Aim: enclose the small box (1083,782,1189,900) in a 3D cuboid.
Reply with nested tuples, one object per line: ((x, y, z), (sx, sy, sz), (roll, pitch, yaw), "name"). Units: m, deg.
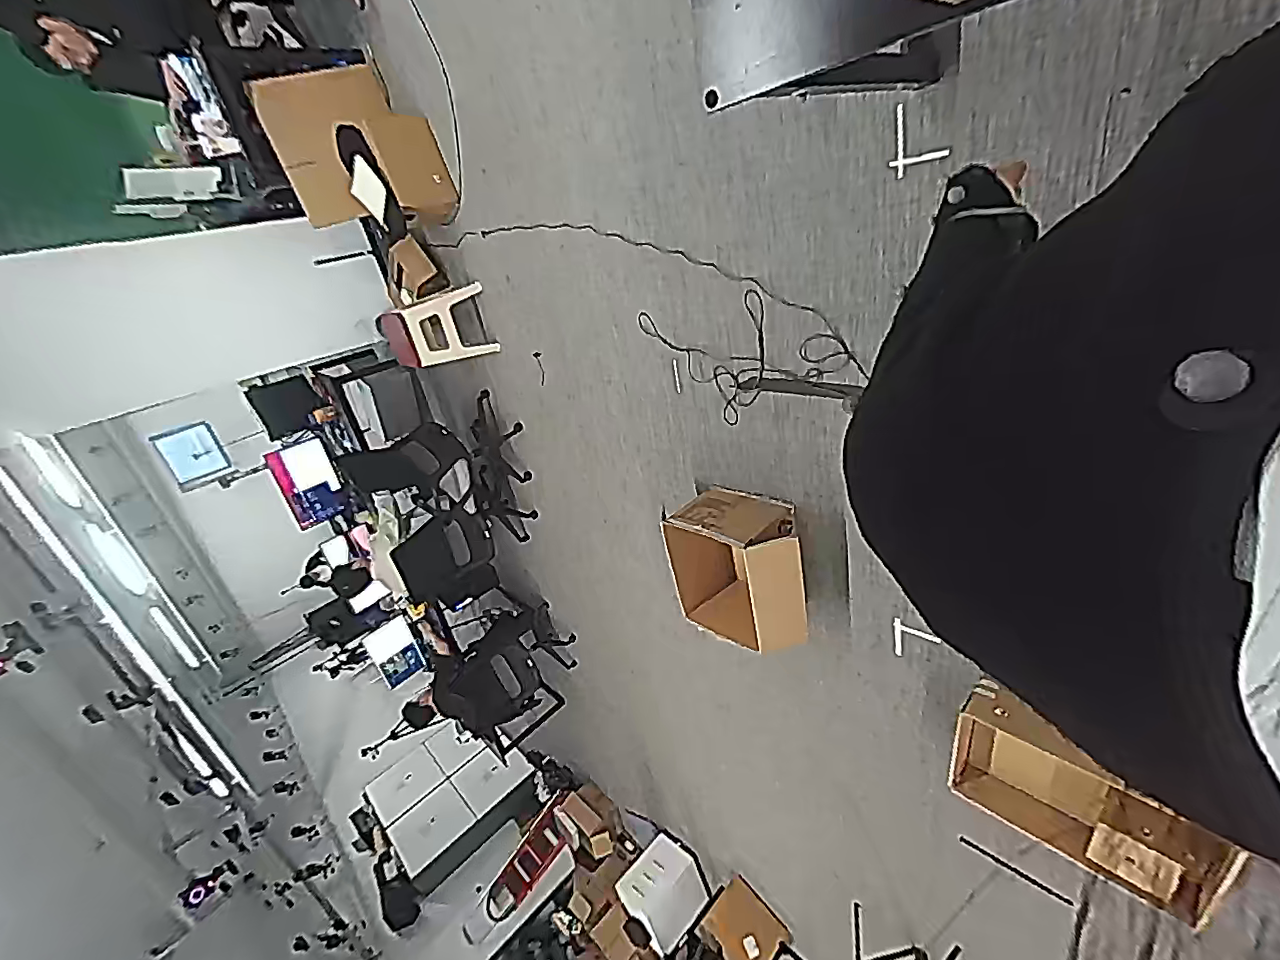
((1.360, 0.978, 1.483), (0.179, 0.176, 0.168), (19, 127, 45), "small box")
